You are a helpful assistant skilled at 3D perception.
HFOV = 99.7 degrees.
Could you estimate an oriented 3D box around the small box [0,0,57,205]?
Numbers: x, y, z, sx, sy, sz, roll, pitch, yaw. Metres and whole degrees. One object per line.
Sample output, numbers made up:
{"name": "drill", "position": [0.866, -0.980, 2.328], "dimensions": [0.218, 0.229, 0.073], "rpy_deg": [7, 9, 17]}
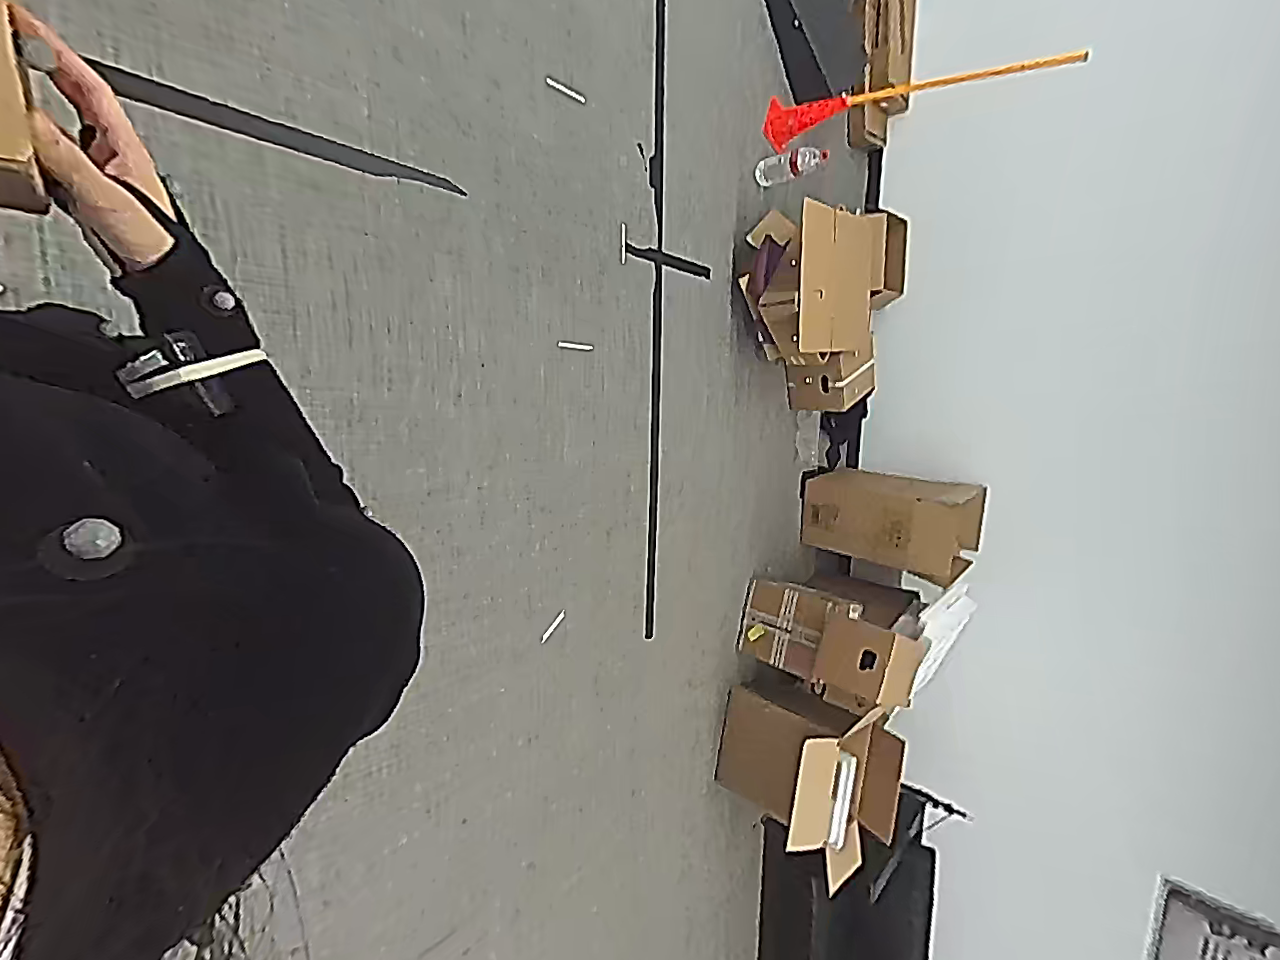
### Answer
{"name": "small box", "position": [-0.397, -0.240, 0.244], "dimensions": [0.168, 0.176, 0.179], "rpy_deg": [-10, 110, -45]}

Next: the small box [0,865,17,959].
{"name": "small box", "position": [-1.233, 0.839, 0.953], "dimensions": [0.168, 0.176, 0.179], "rpy_deg": [-4, 99, -47]}
